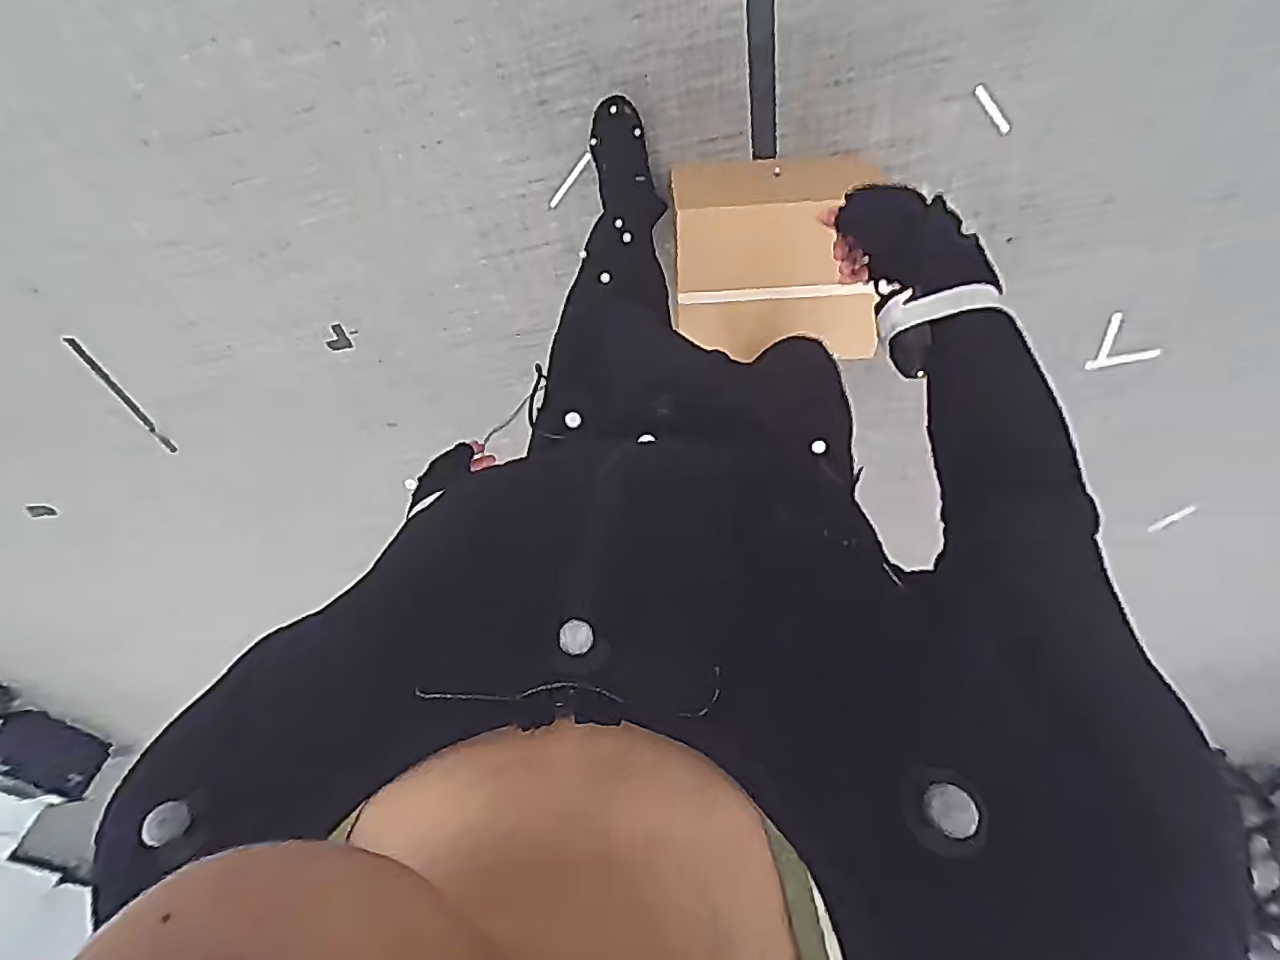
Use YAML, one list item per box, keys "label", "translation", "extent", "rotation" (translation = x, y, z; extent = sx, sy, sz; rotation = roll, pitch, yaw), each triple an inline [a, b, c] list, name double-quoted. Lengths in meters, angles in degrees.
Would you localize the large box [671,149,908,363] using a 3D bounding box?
- label: "large box"
  translation: [0.275, -0.471, 1.138]
  extent: [0.408, 0.320, 0.320]
  rotation: [-3, 133, 3]
